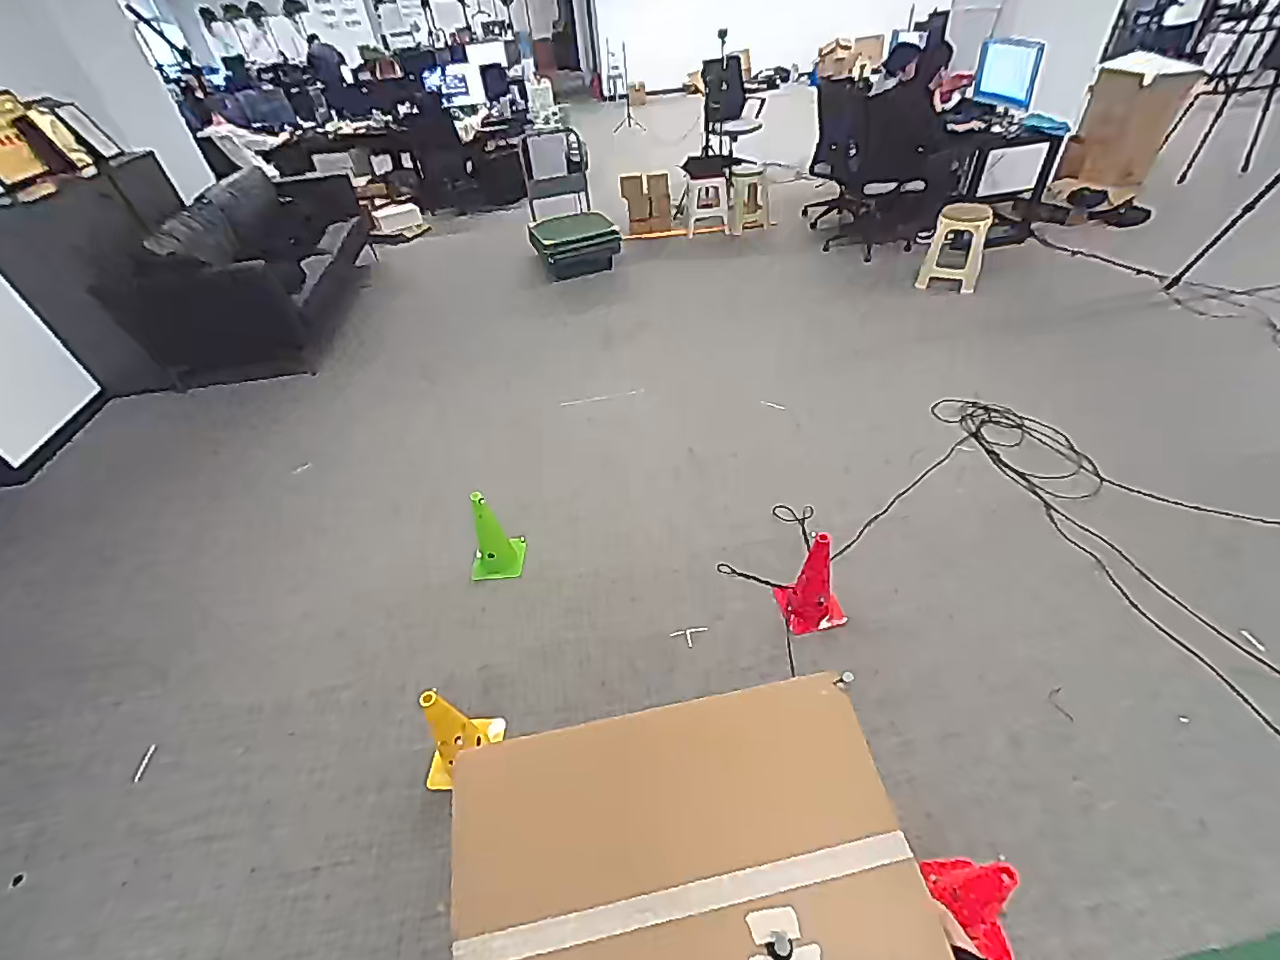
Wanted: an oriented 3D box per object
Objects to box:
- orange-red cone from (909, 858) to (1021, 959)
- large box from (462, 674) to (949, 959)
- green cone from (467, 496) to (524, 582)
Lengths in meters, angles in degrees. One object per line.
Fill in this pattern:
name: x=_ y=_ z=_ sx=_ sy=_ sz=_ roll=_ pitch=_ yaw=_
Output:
orange-red cone: x=0.712 y=0.876 z=1.140 sx=0.199 sy=0.360 sz=0.198 roll=-3 pitch=43 yaw=1
large box: x=0.049 y=0.453 z=0.600 sx=0.408 sy=0.320 sz=0.320 roll=-10 pitch=57 yaw=-6
green cone: x=-0.585 y=0.196 z=2.048 sx=0.200 sy=0.368 sz=0.202 roll=-6 pitch=43 yaw=1
